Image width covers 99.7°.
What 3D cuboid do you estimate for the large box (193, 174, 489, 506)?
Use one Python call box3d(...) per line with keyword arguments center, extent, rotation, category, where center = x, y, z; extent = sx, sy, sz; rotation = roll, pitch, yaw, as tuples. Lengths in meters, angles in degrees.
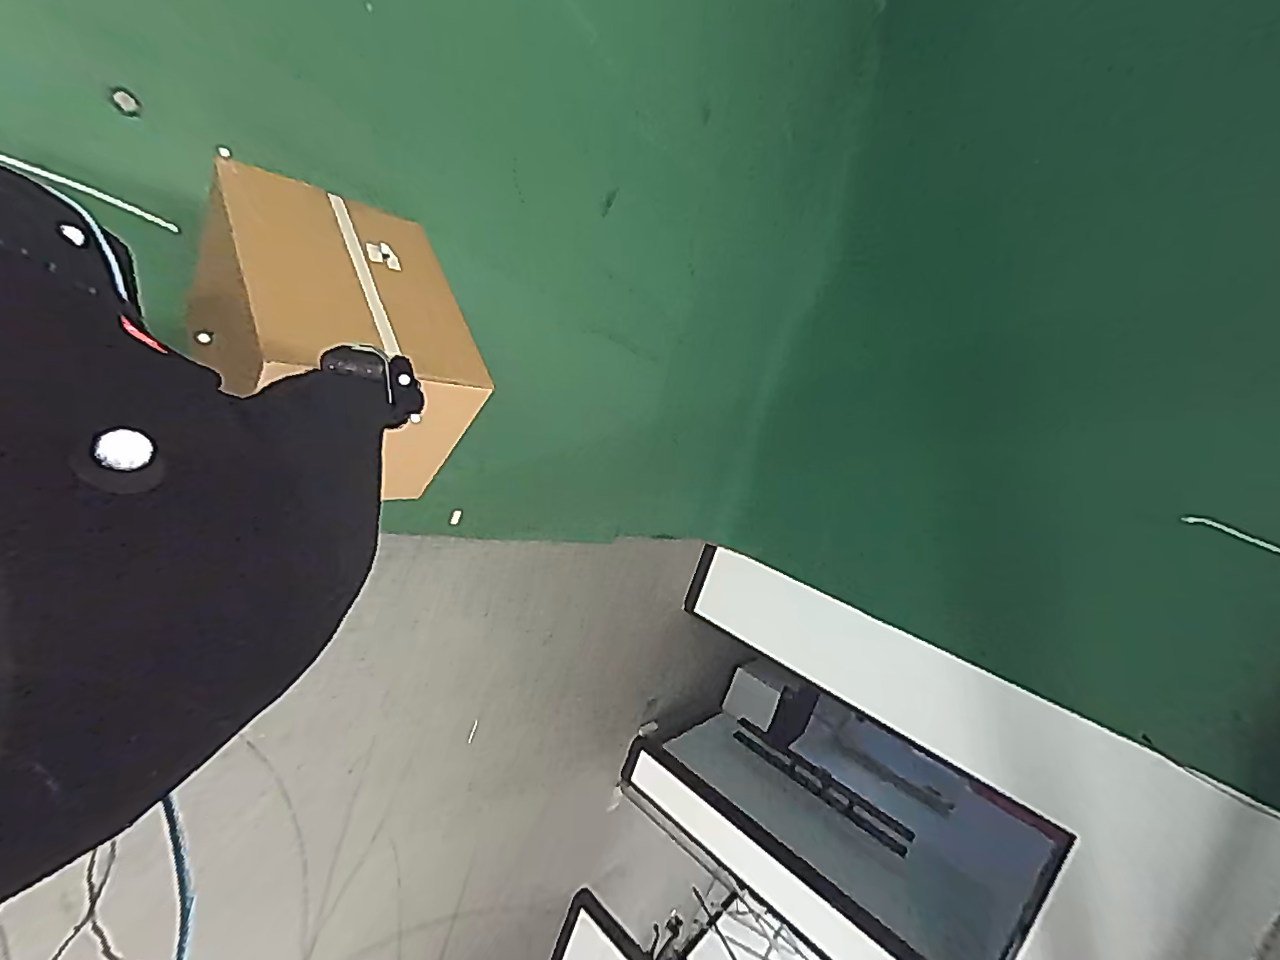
box3d(center=(-0.521, -0.210, 0.918), extent=(0.320, 0.408, 0.320), rotation=(-1, 145, -49), category="large box")
